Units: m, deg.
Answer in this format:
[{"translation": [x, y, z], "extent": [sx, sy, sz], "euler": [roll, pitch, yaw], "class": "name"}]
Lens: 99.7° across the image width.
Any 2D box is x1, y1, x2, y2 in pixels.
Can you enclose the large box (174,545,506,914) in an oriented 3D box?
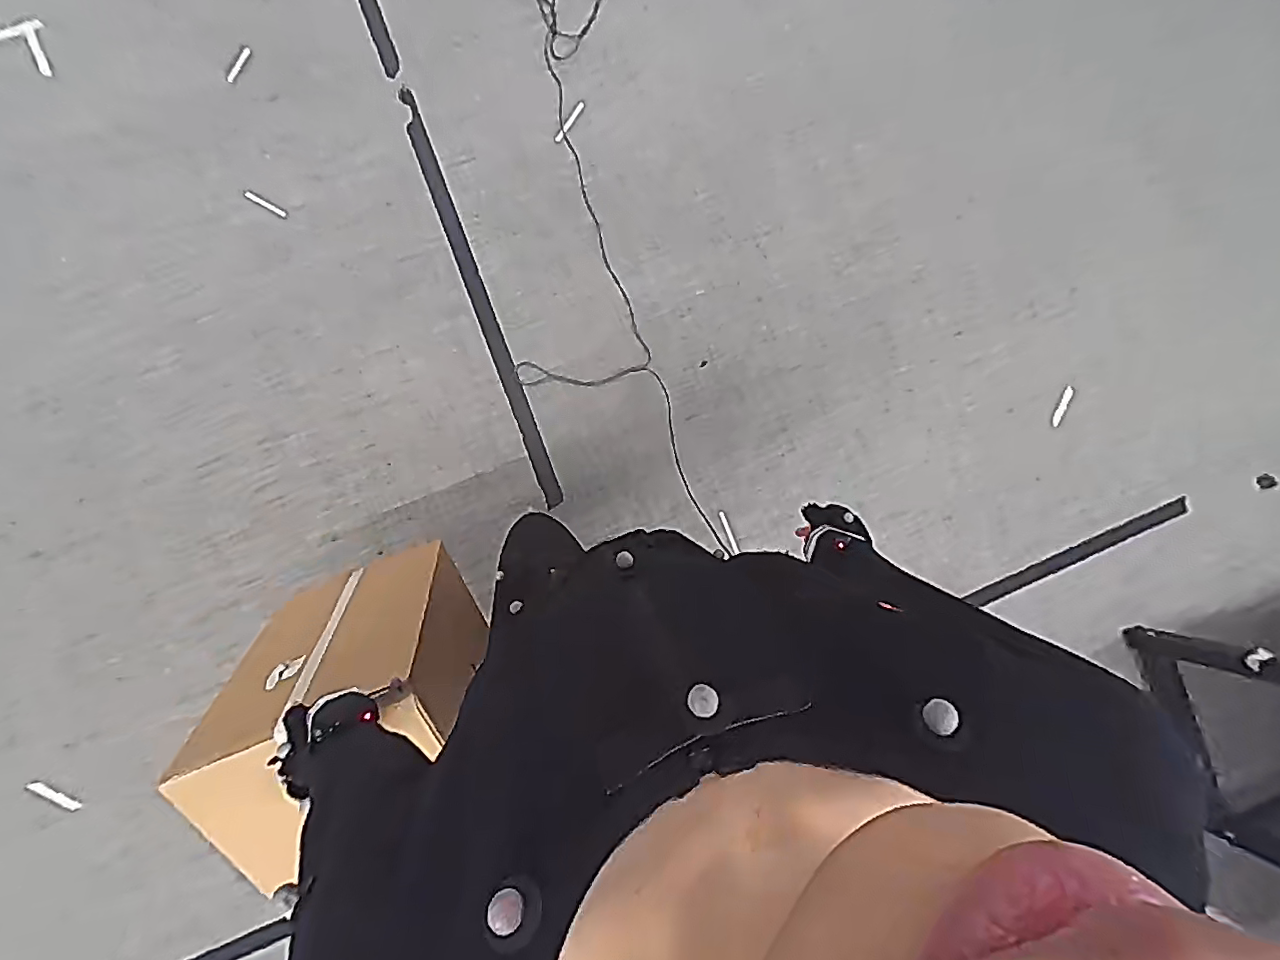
[{"translation": [-0.430, 0.374, 0.905], "extent": [0.320, 0.408, 0.320], "euler": [-23, 115, -6], "class": "large box"}]
